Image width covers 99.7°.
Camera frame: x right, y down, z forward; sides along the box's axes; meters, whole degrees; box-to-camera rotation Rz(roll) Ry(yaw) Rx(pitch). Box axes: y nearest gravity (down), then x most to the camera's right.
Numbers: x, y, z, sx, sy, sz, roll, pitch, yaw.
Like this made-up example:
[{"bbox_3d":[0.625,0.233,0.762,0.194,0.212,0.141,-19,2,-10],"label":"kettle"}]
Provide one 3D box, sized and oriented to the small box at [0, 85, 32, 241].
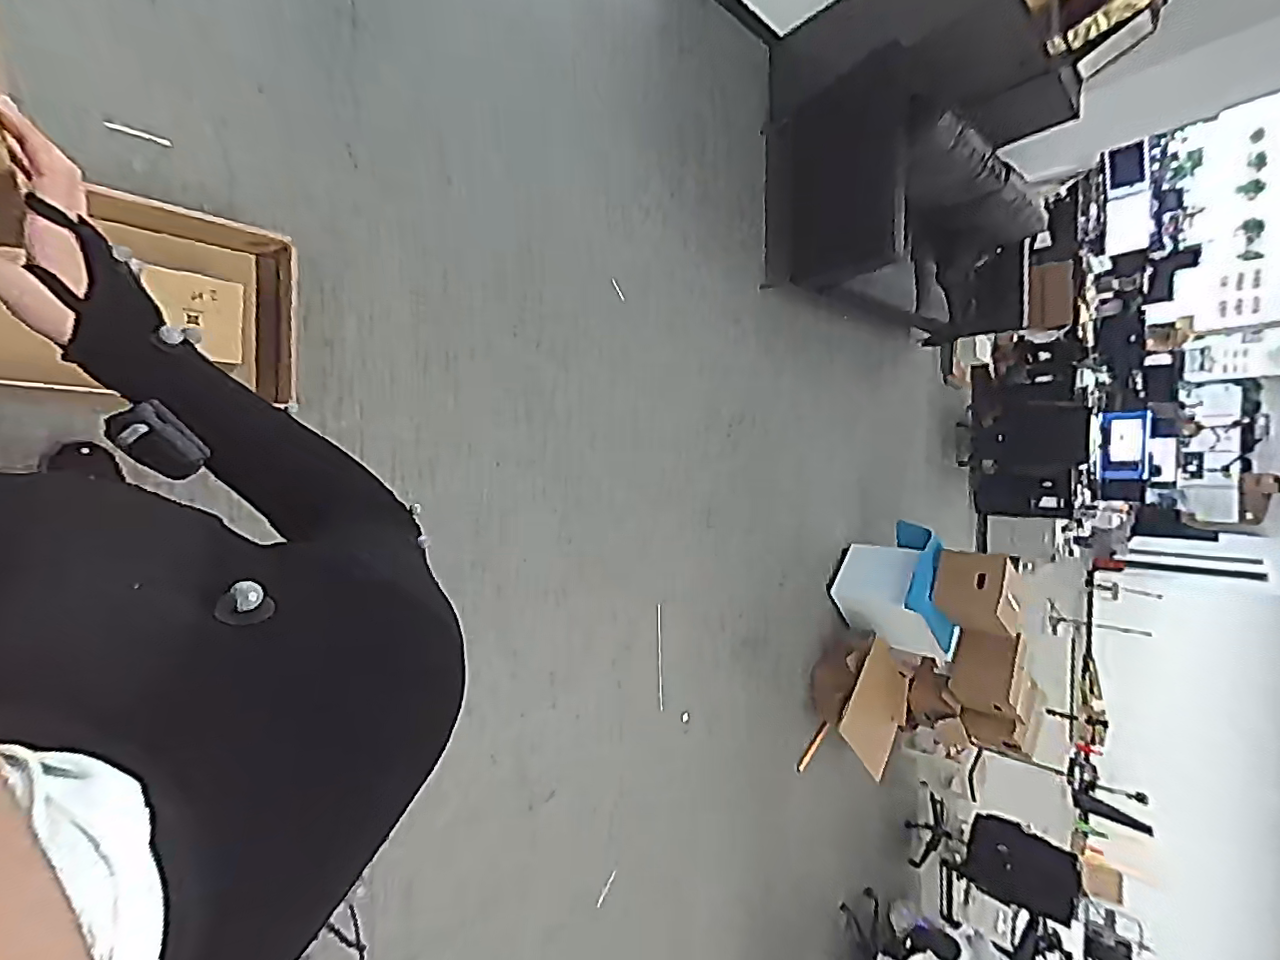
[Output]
[{"bbox_3d":[-0.530,-0.275,0.339,0.168,0.176,0.179,-14,91,-43],"label":"small box"}]
